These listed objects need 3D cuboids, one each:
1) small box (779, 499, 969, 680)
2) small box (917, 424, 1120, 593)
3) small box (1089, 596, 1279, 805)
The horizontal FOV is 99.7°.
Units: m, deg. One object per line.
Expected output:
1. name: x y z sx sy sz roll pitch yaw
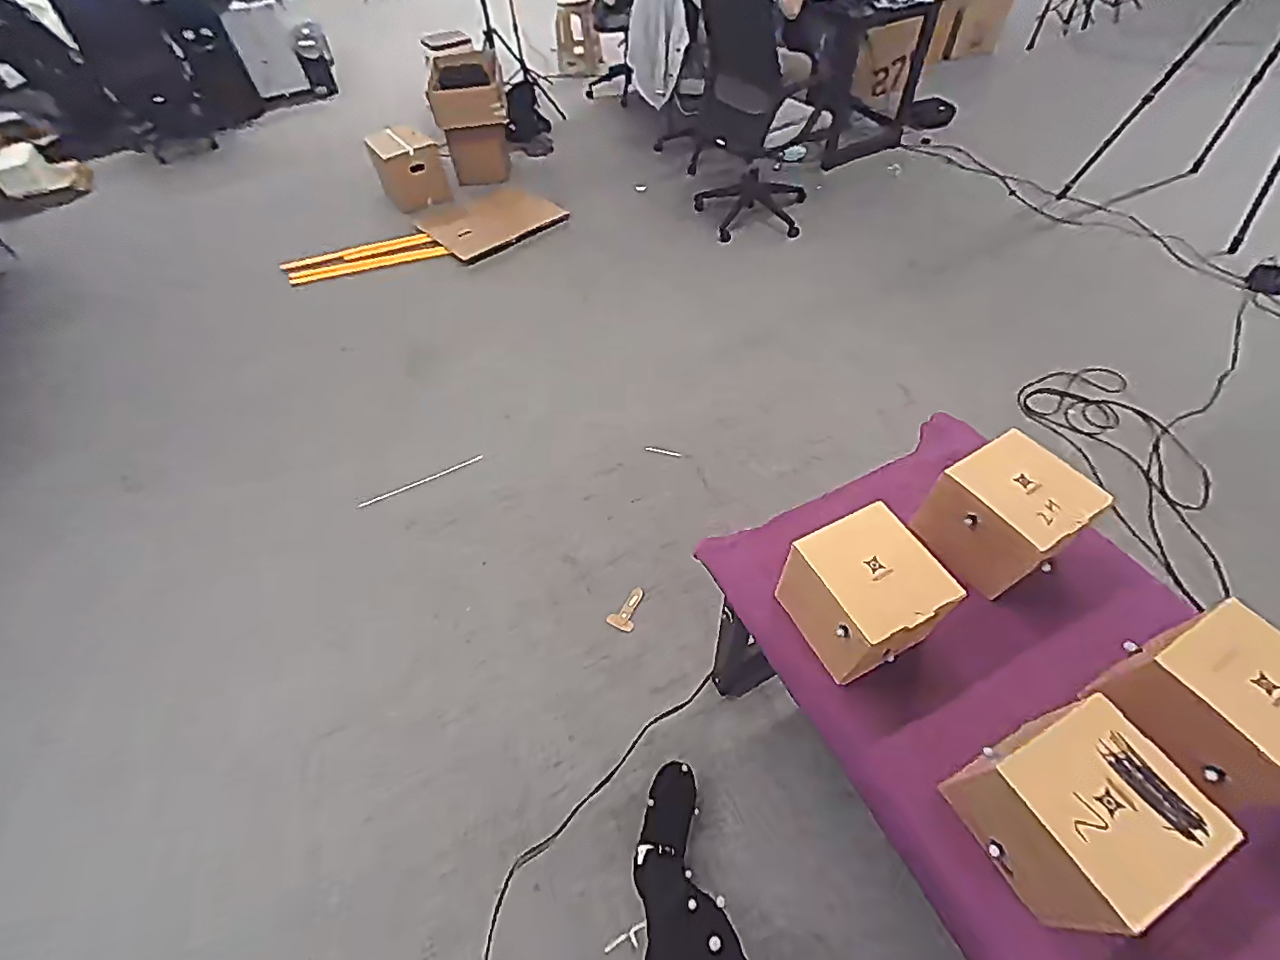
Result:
1. small box: 0.330 0.165 0.806 0.168 0.176 0.179 -23 56 -14
2. small box: 0.588 0.049 0.871 0.168 0.176 0.179 -27 56 -14
3. small box: 0.744 0.285 0.686 0.168 0.176 0.179 -25 55 -14
